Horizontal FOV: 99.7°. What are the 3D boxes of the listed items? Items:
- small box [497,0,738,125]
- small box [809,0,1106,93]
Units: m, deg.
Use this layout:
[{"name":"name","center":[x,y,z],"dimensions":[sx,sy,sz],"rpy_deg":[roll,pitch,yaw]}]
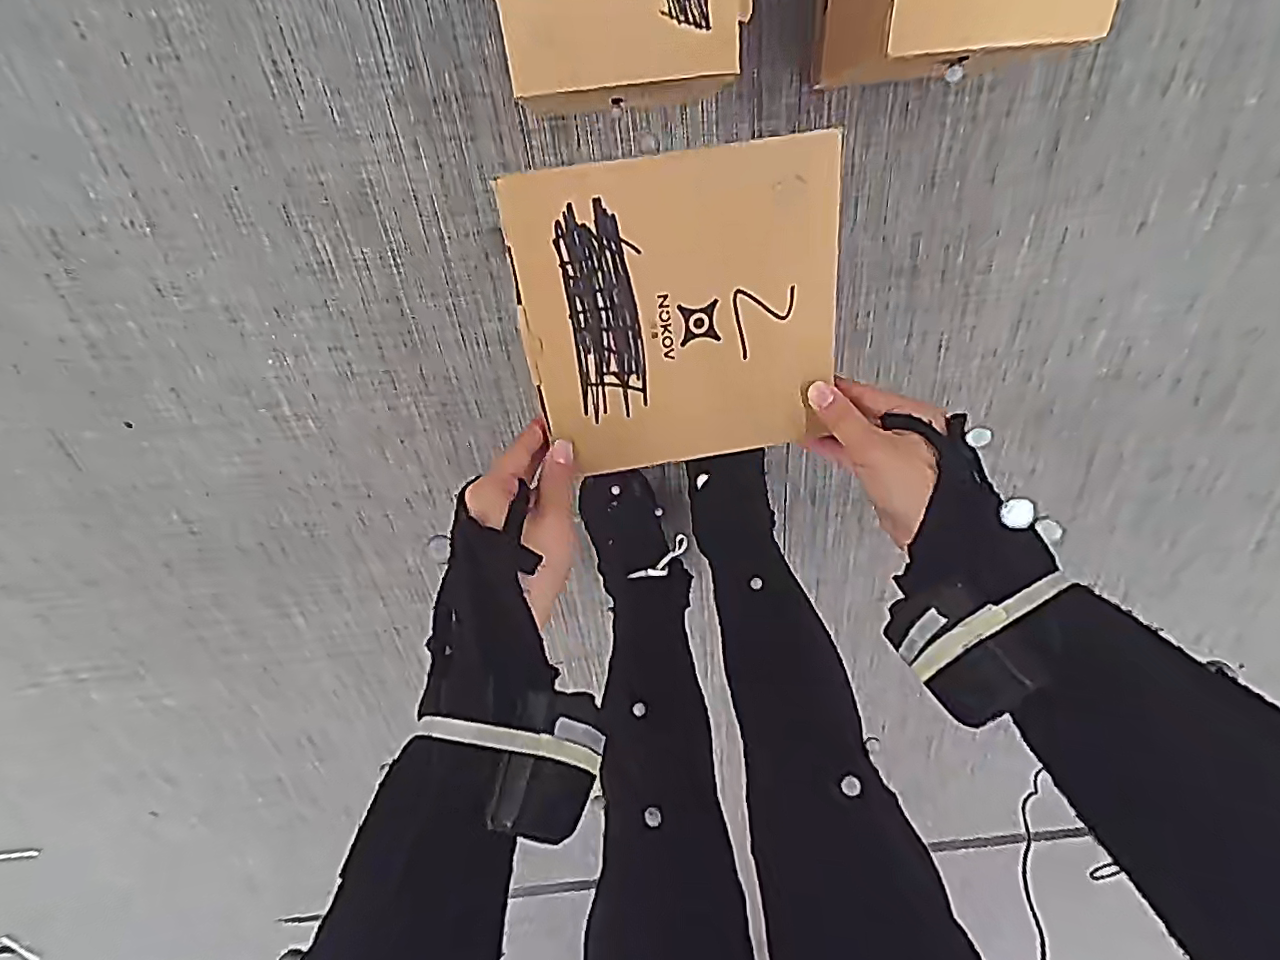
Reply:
[{"name":"small box","center":[-0.023,-0.404,0.451],"dimensions":[0.179,0.176,0.168],"rpy_deg":[-6,120,1]},{"name":"small box","center":[0.260,-0.437,0.452],"dimensions":[0.179,0.176,0.168],"rpy_deg":[-5,120,0]}]
